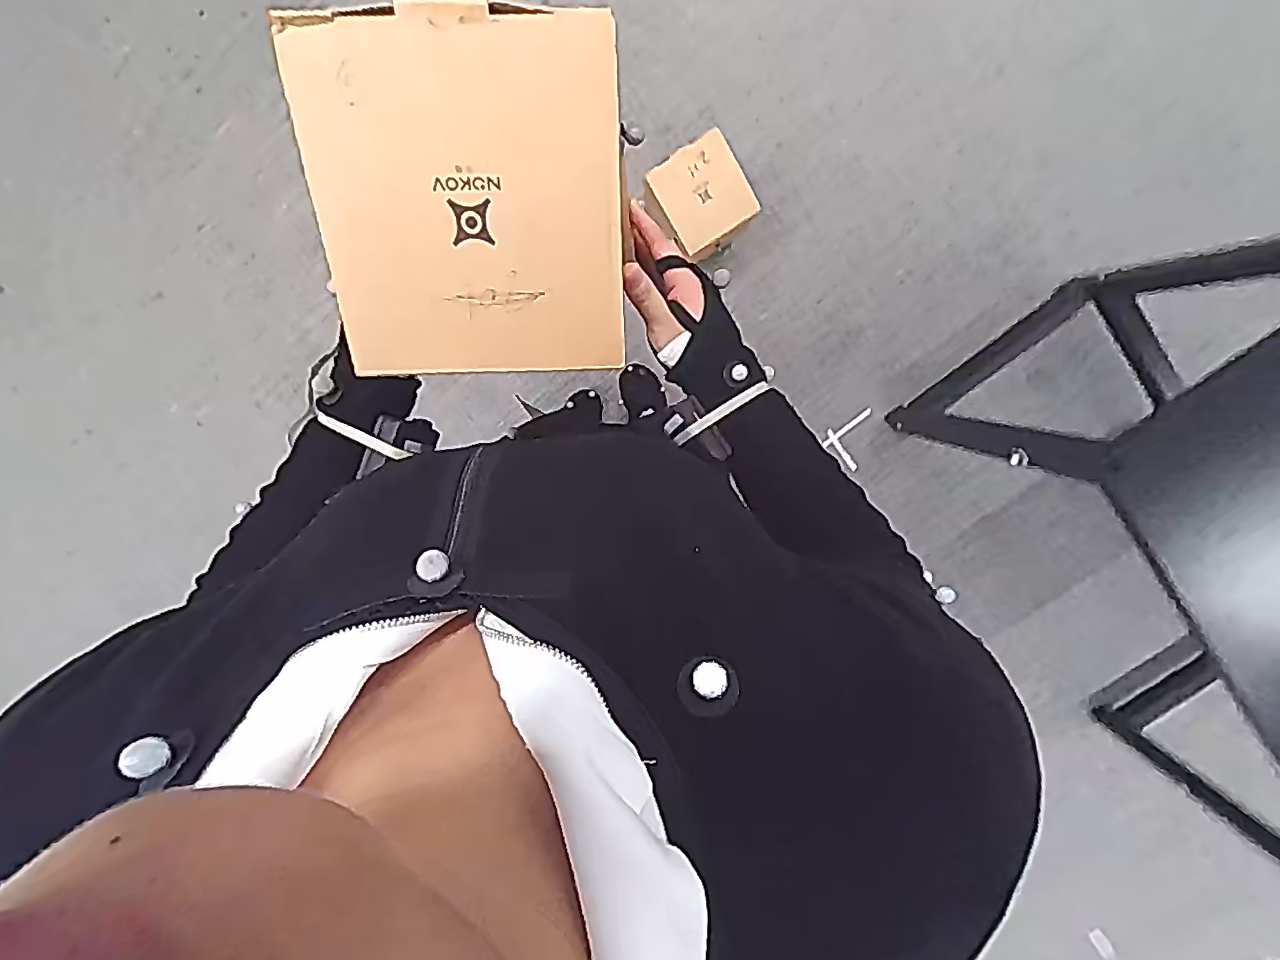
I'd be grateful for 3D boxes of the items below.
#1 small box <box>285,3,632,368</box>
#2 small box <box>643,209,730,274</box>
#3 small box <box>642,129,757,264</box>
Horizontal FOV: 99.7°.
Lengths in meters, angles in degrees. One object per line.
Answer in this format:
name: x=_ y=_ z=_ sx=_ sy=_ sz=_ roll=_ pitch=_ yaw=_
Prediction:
small box: x=-0.090 y=-0.183 z=0.366 sx=0.168 sy=0.176 sz=0.179 roll=-1 pitch=117 yaw=-1
small box: x=0.114 y=-0.617 z=1.285 sx=0.179 sy=0.176 sz=0.168 roll=-29 pitch=100 yaw=6
small box: x=0.116 y=-0.573 z=1.127 sx=0.168 sy=0.176 sz=0.179 roll=-32 pitch=100 yaw=5
